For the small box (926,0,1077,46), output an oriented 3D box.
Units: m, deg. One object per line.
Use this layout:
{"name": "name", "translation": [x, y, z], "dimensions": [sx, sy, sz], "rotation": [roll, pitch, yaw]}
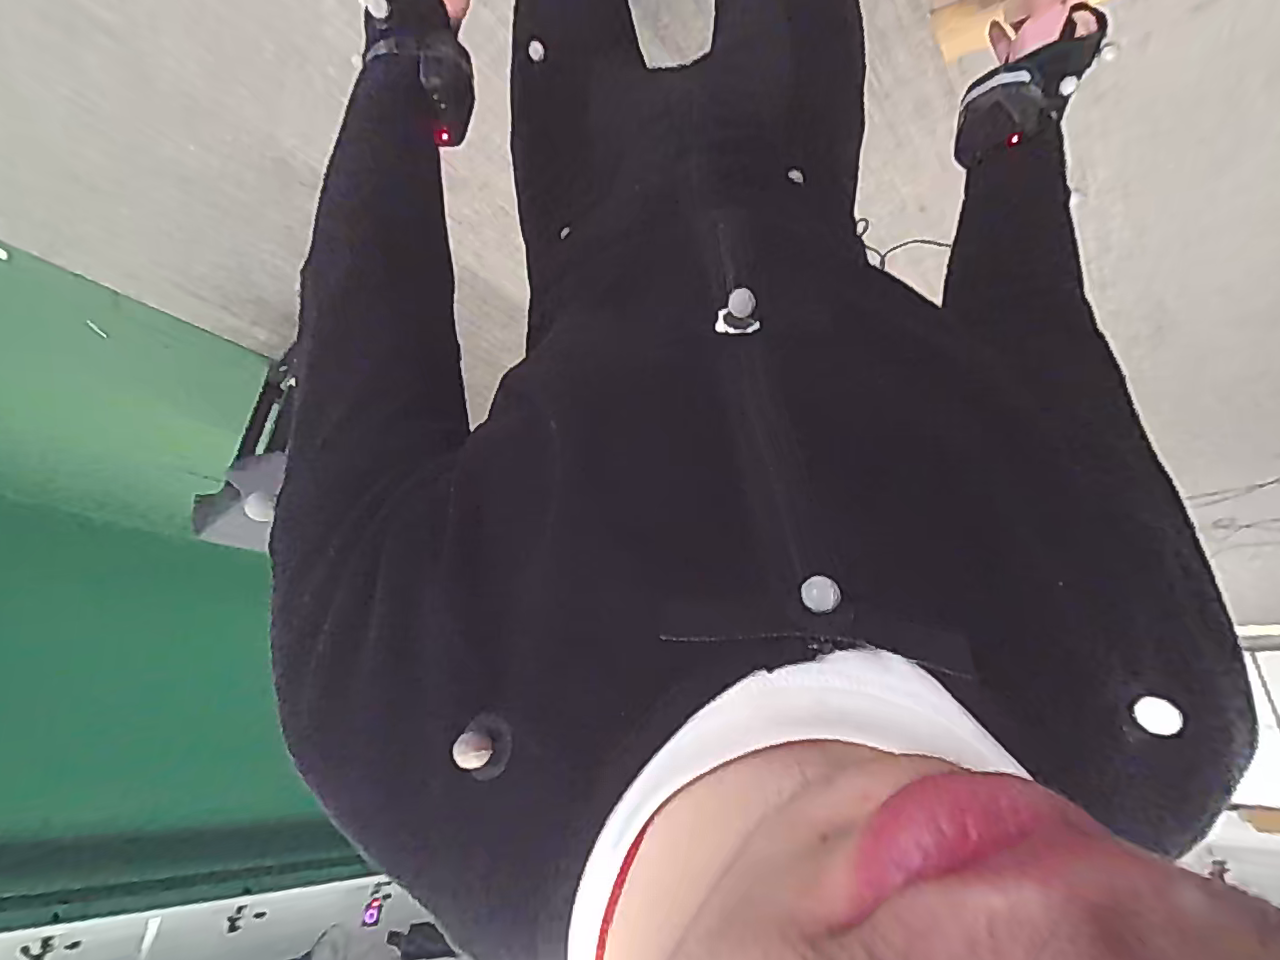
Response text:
{"name": "small box", "translation": [0.372, -0.560, 0.518], "dimensions": [0.168, 0.179, 0.176], "rotation": [-3, -163, 37]}
